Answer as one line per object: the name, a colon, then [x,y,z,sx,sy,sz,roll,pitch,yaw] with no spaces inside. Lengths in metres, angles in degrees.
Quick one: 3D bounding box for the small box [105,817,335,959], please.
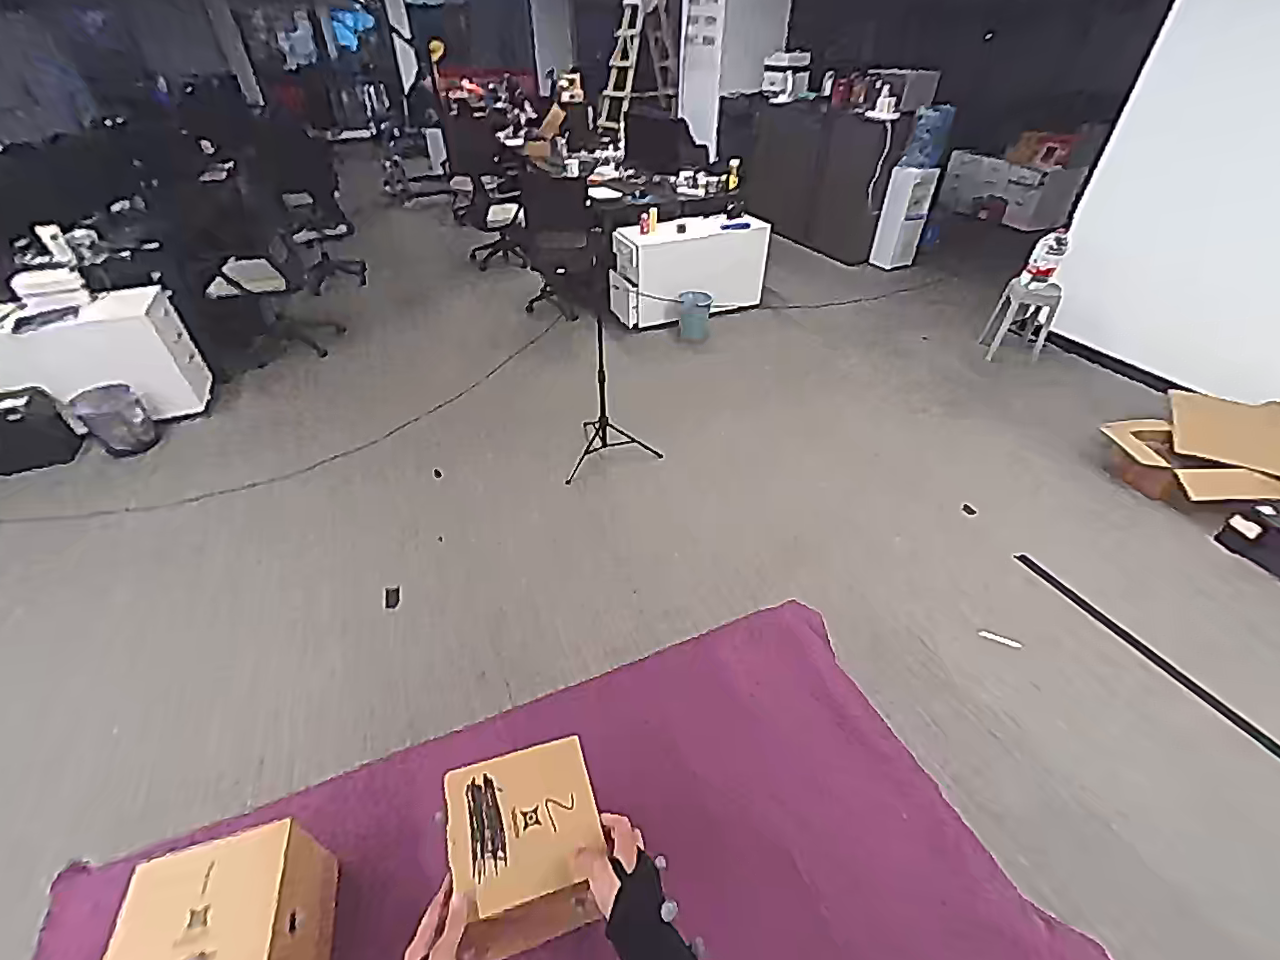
small box: [-0.482,0.544,0.638,0.168,0.176,0.179,-11,41,-14]
